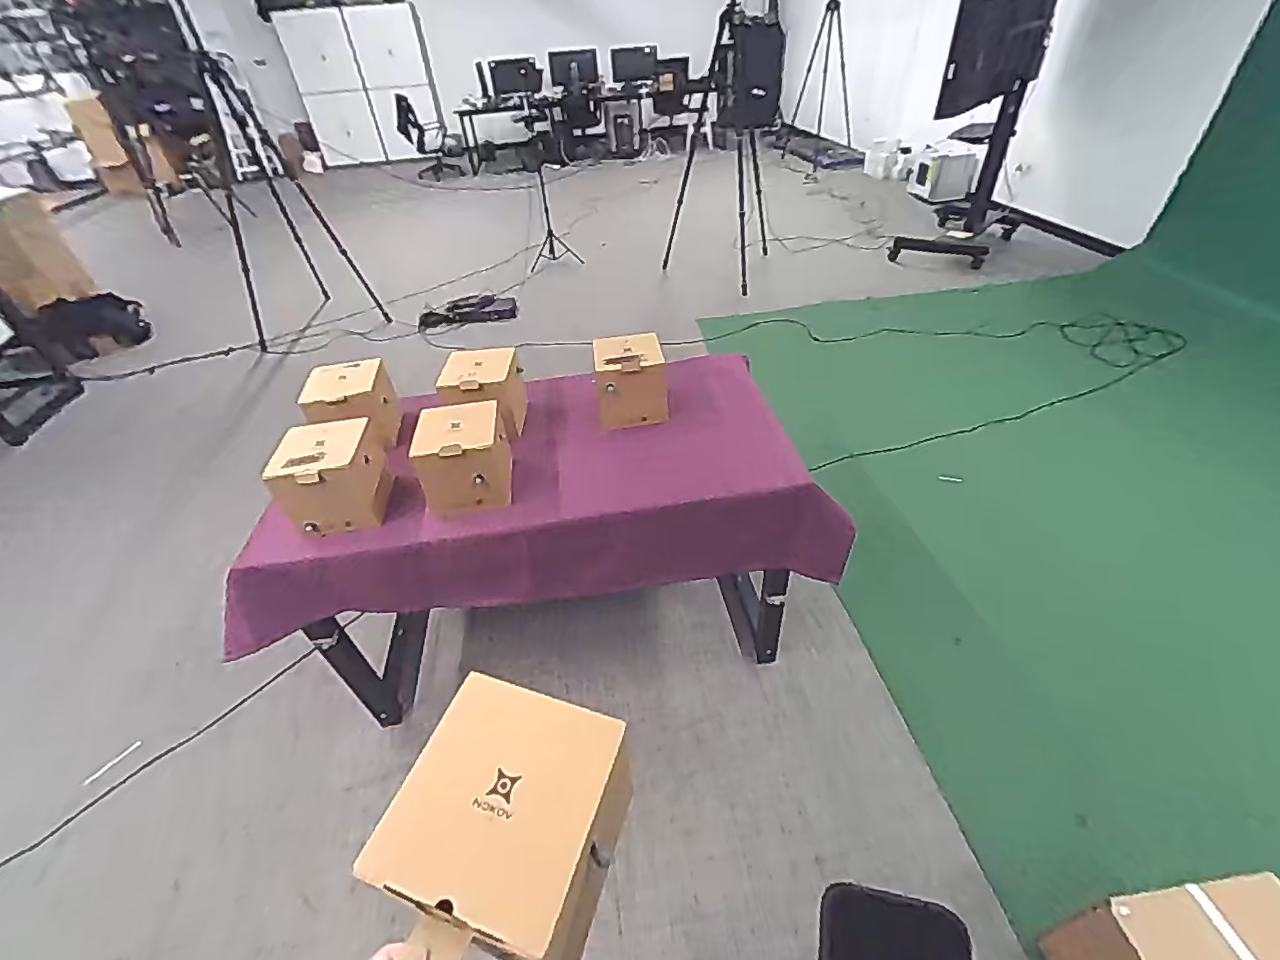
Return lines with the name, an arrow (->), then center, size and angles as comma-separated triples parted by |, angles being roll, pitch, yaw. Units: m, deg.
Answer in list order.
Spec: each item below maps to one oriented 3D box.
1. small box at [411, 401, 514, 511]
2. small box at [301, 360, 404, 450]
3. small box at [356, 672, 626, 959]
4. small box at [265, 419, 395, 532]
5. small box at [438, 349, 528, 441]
small box -> -0.375, -0.046, 1.176 | 0.168, 0.176, 0.179 | -8, 40, -4
small box -> -0.712, -0.178, 1.362 | 0.168, 0.176, 0.179 | -11, 42, -7
small box -> -0.117, 0.320, 0.508 | 0.168, 0.176, 0.179 | 12, 44, 15
small box -> -0.645, -0.005, 1.153 | 0.168, 0.176, 0.179 | -9, 39, -5
small box -> -0.387, -0.214, 1.370 | 0.168, 0.176, 0.179 | -4, 41, 2
